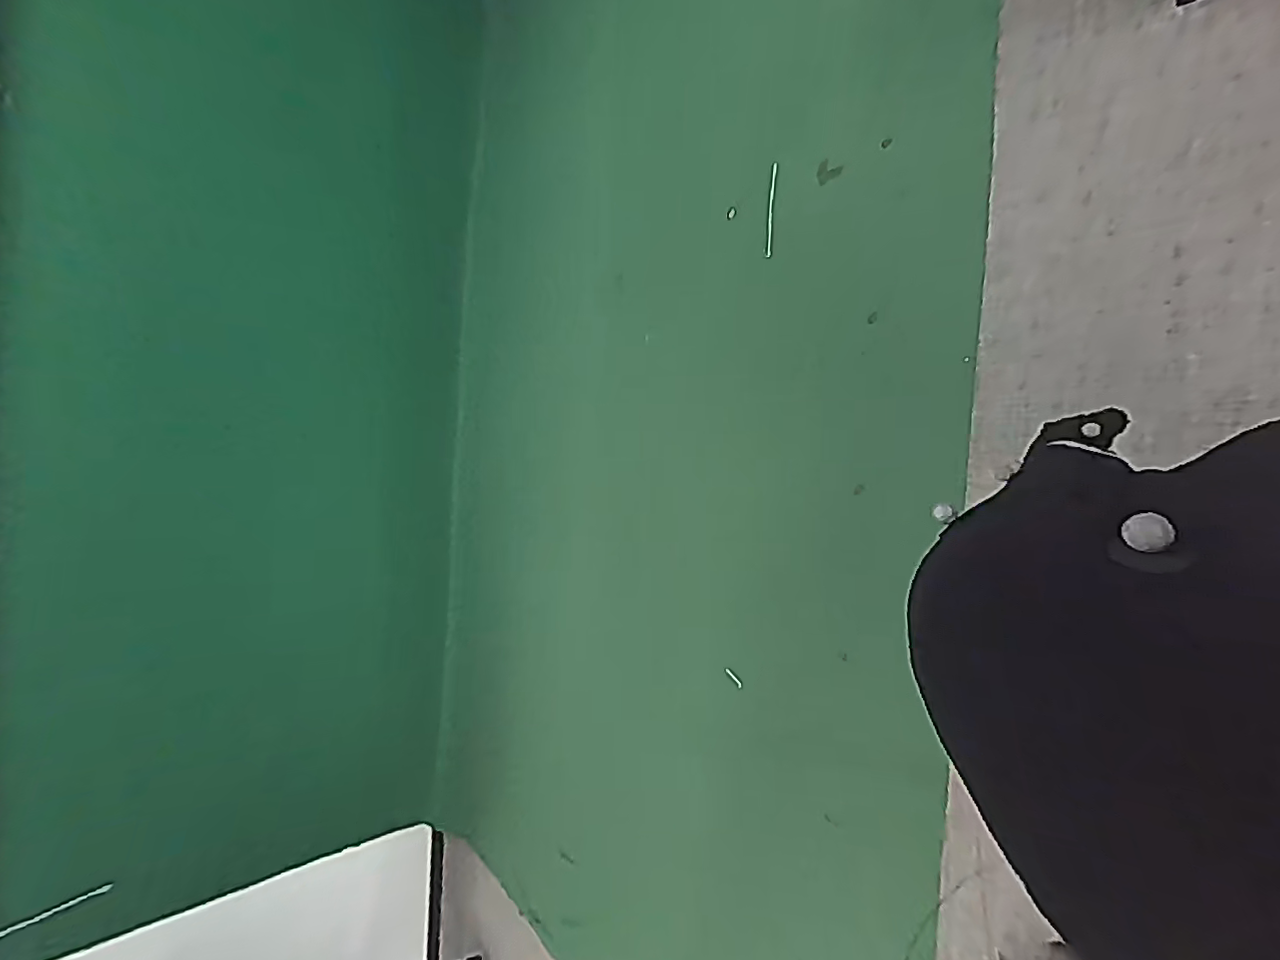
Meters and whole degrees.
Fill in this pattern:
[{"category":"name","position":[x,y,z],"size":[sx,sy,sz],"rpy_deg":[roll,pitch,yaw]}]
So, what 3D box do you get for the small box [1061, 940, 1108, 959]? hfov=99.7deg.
[{"category":"small box","position":[0.926,1.084,1.072],"size":[0.168,0.176,0.179],"rpy_deg":[7,94,48]}]
